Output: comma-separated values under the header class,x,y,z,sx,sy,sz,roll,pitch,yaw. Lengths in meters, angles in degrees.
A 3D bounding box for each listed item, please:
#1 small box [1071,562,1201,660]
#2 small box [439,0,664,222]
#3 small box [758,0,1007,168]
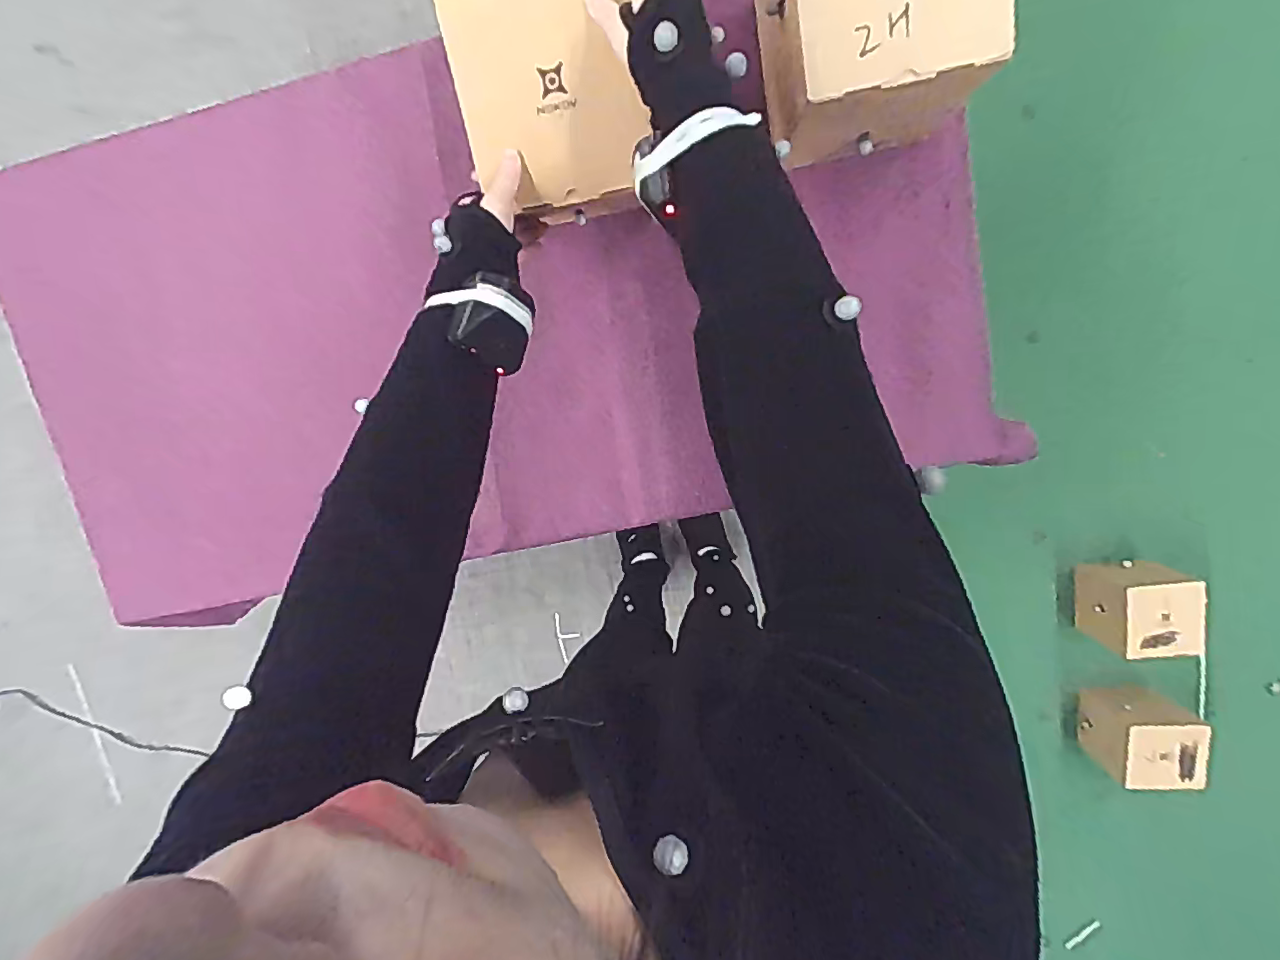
class,x,y,z,sx,sy,sz,roll,pitch,yaw
small box,1.174,0.308,1.293,0.168,0.176,0.179,-6,98,5
small box,-0.069,-0.364,0.529,0.168,0.176,0.179,-7,113,6
small box,0.209,-0.427,0.506,0.168,0.176,0.179,-8,102,7
